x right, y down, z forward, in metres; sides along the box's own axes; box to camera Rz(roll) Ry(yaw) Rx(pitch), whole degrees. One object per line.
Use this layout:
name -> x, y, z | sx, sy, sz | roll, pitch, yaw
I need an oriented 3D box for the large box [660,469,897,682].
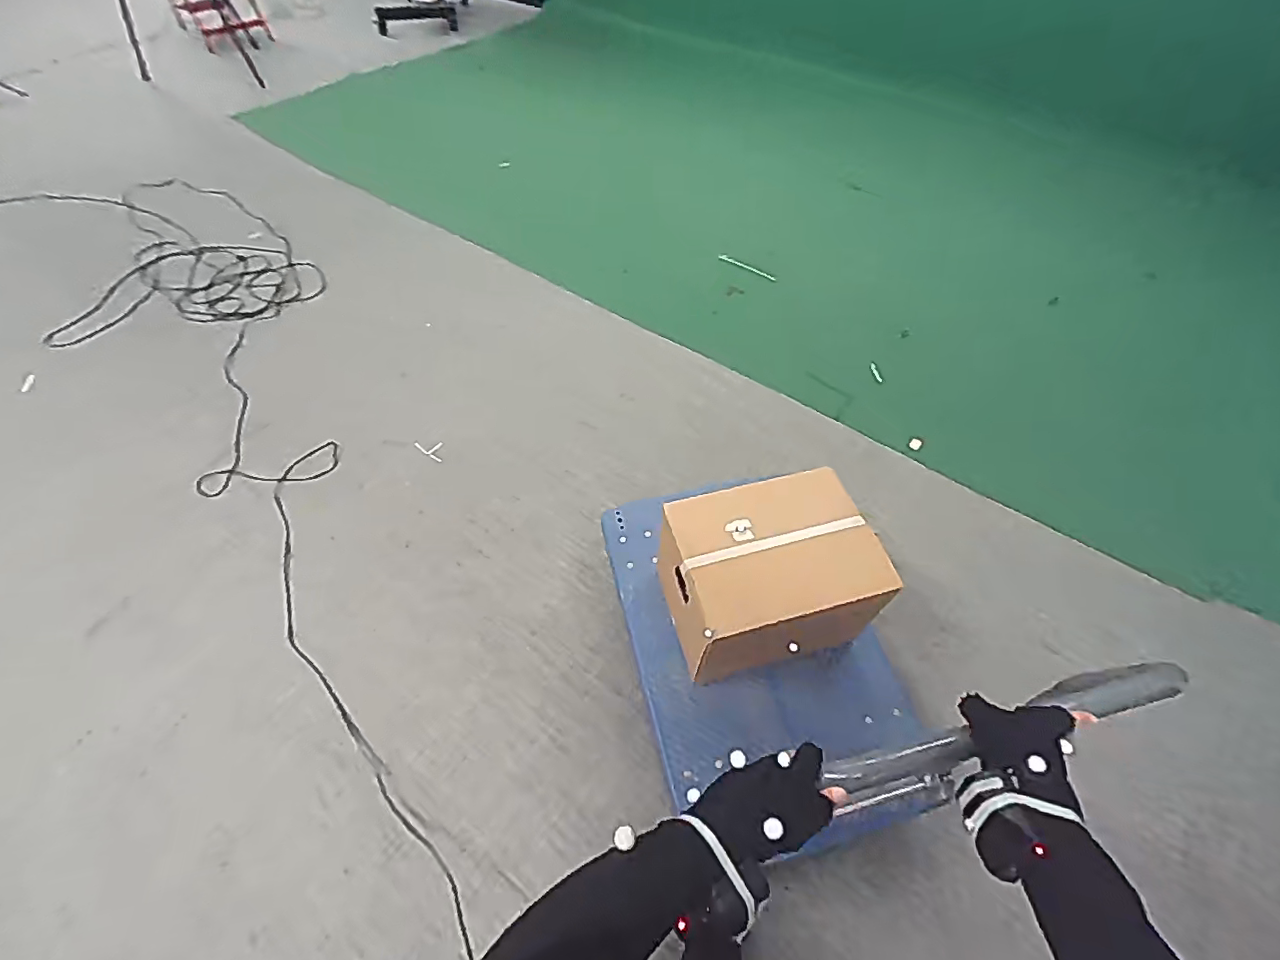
large box -> 0.283, 0.224, 1.243 | 0.408, 0.320, 0.320 | -13, 55, -10
